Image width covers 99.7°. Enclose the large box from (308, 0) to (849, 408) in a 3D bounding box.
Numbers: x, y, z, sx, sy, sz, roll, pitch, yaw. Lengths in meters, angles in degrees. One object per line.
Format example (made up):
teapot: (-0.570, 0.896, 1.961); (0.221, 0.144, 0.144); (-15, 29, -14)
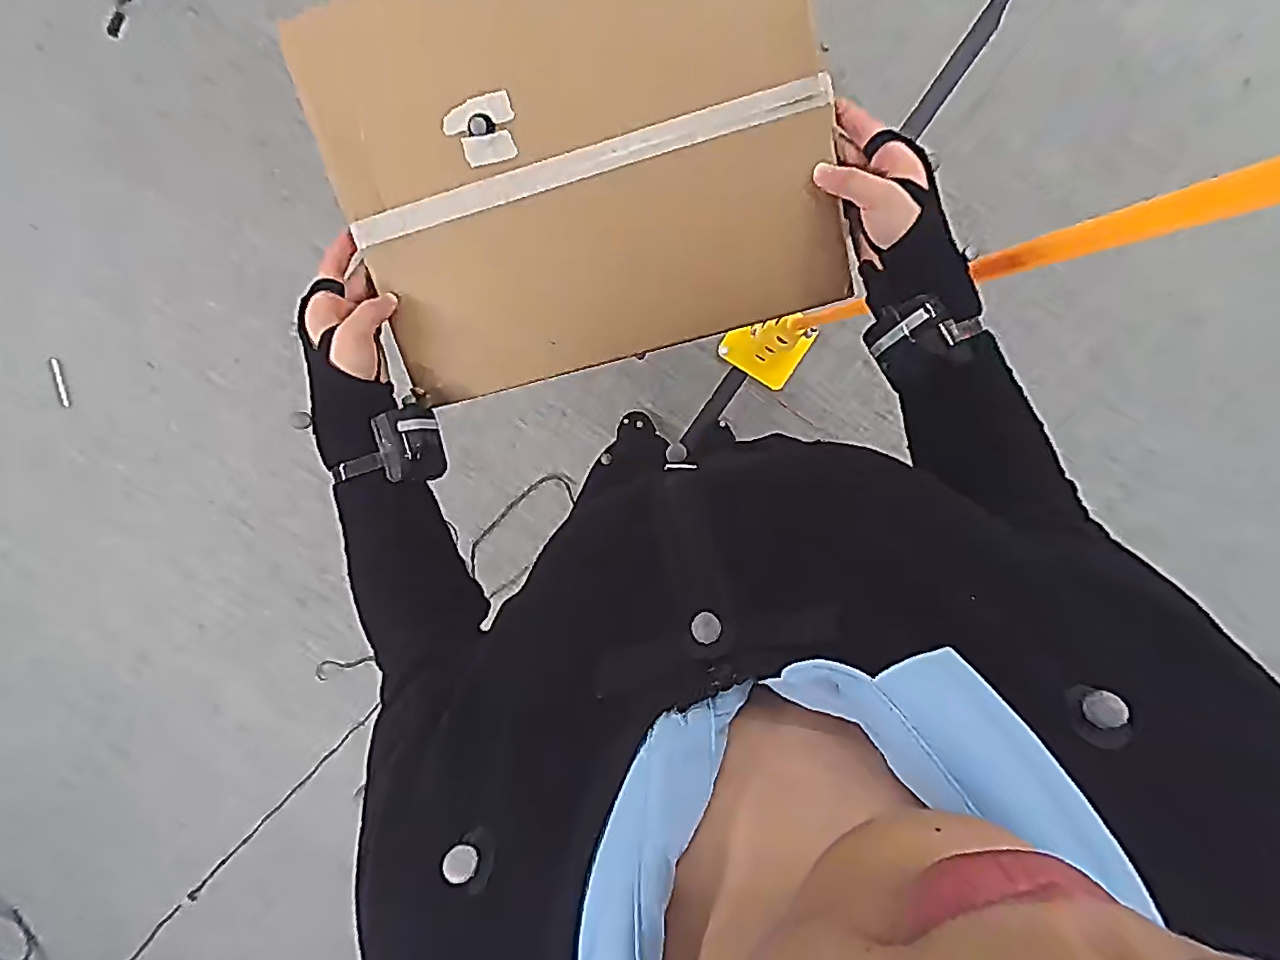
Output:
large box: (-0.037, -0.304, 0.601); (0.408, 0.320, 0.320); (-14, 105, 7)
